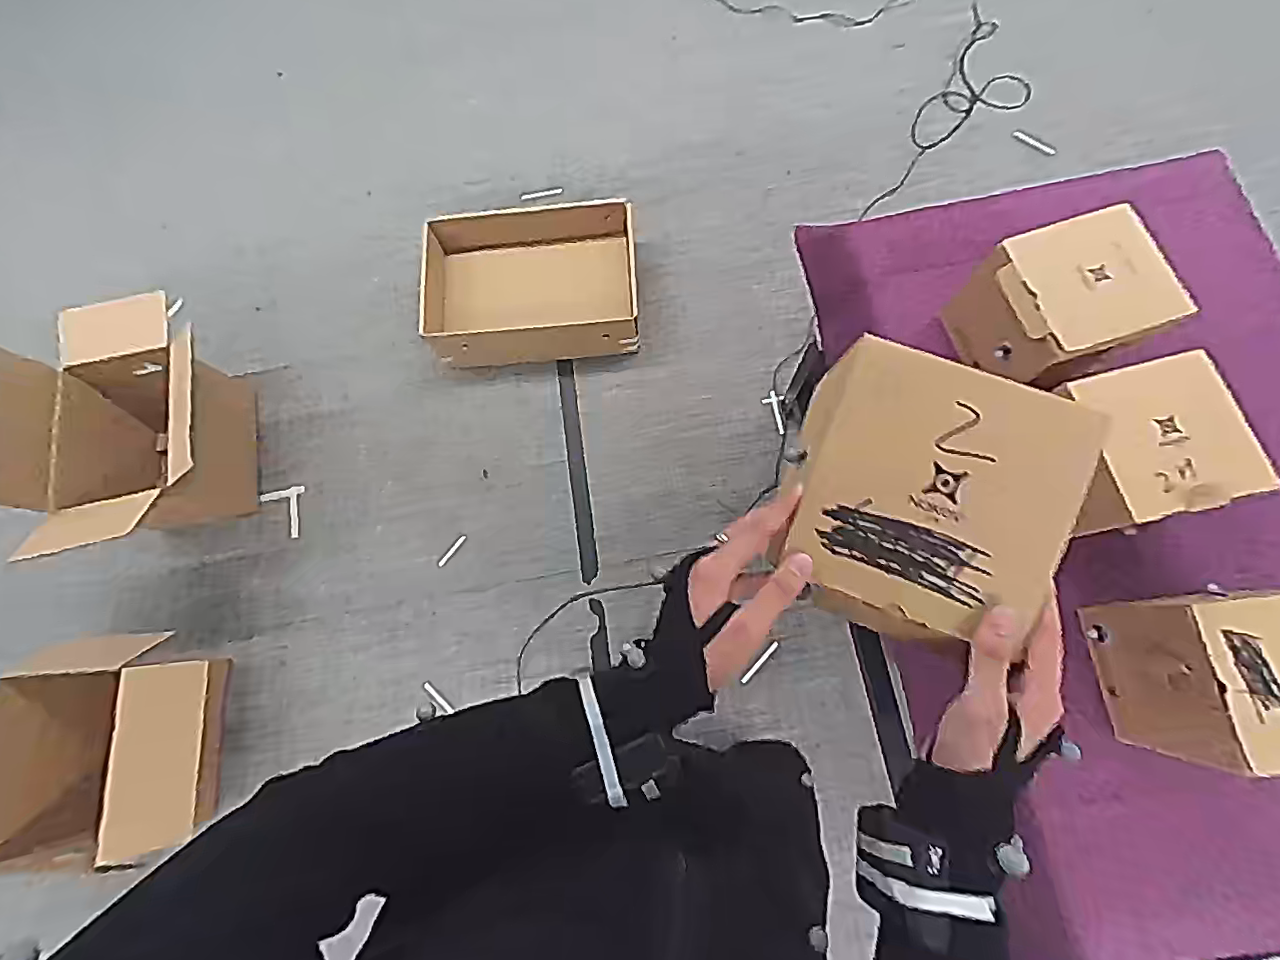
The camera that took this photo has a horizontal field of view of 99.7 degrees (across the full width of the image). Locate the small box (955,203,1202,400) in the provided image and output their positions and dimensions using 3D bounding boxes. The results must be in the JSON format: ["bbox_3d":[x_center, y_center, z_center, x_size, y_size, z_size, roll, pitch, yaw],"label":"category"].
[{"bbox_3d":[0.564,-0.229,0.733,0.179,0.176,0.168,-17,76,-1],"label":"small box"}]

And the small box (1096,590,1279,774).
[{"bbox_3d":[0.671,0.217,0.612,0.179,0.176,0.168,-7,76,2],"label":"small box"}]
